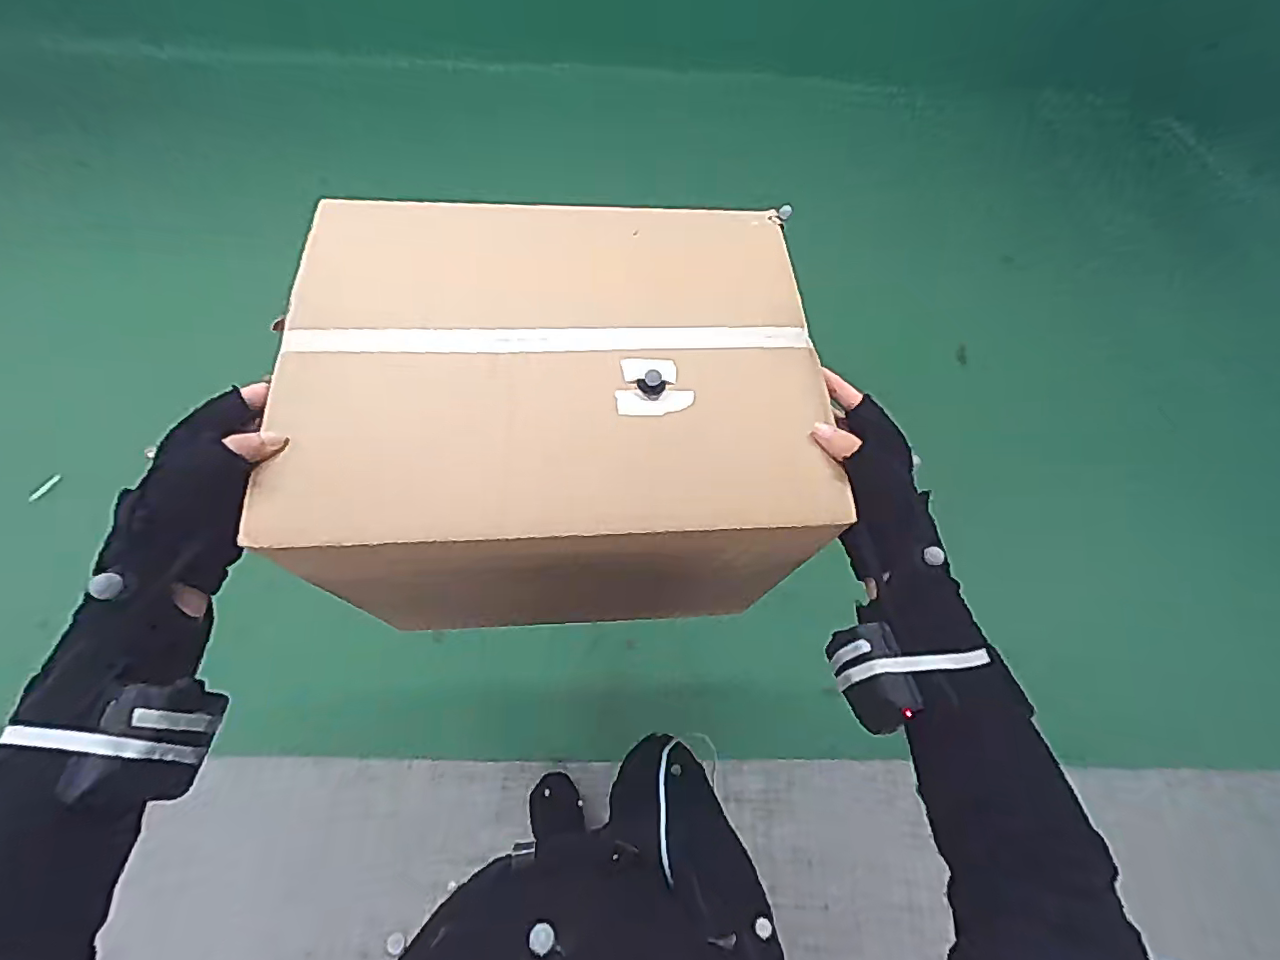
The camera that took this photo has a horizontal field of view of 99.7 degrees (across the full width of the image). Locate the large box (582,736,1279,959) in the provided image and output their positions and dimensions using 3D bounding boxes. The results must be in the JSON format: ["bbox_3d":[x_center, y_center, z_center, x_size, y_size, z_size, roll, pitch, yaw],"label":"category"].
[{"bbox_3d":[0.125,0.335,0.125,0.320,0.320,0.408,-12,18,29],"label":"large box"}]
